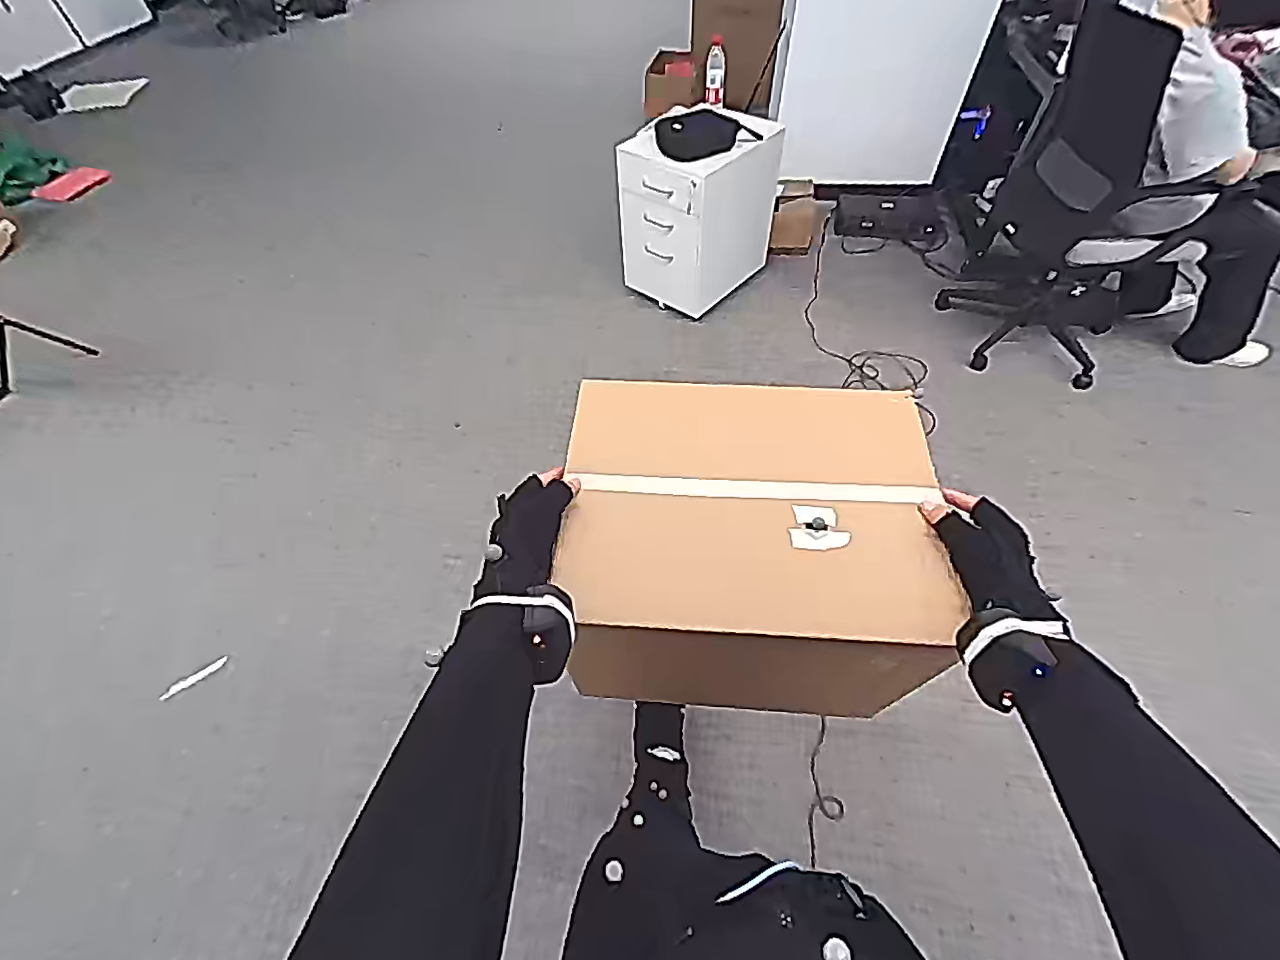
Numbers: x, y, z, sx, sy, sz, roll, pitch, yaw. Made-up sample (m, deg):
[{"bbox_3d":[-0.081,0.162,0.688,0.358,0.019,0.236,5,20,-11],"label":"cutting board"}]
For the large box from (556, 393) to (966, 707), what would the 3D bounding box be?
[{"bbox_3d":[0.124,0.103,0.726,0.408,0.320,0.320,3,56,3],"label":"large box"}]
